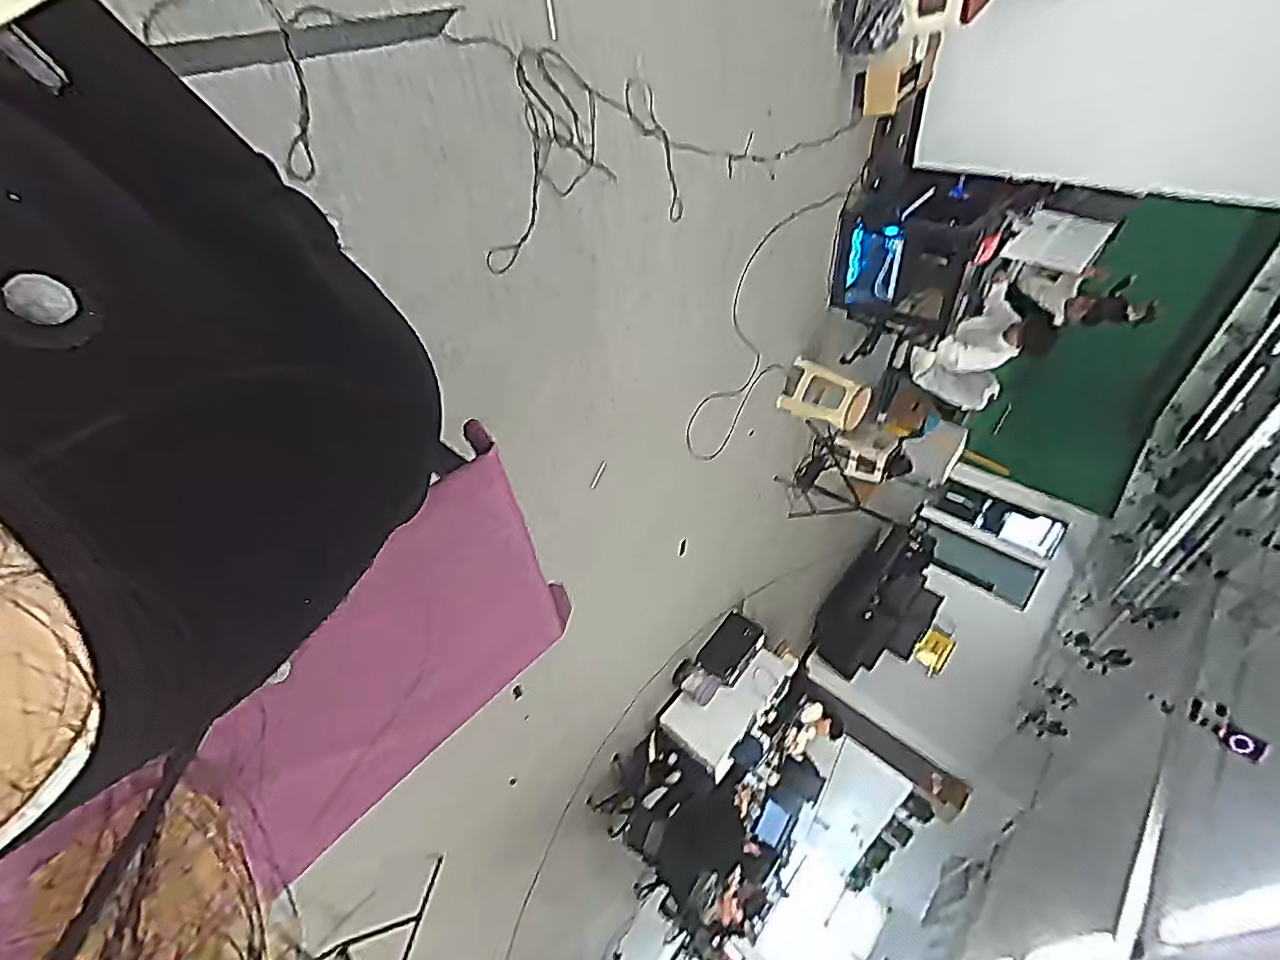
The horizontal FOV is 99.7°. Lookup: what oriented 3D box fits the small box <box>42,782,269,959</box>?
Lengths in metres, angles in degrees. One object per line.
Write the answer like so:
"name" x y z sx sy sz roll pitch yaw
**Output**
"small box" -0.690 0.581 0.776 0.179 0.176 0.168 -37 139 -30
